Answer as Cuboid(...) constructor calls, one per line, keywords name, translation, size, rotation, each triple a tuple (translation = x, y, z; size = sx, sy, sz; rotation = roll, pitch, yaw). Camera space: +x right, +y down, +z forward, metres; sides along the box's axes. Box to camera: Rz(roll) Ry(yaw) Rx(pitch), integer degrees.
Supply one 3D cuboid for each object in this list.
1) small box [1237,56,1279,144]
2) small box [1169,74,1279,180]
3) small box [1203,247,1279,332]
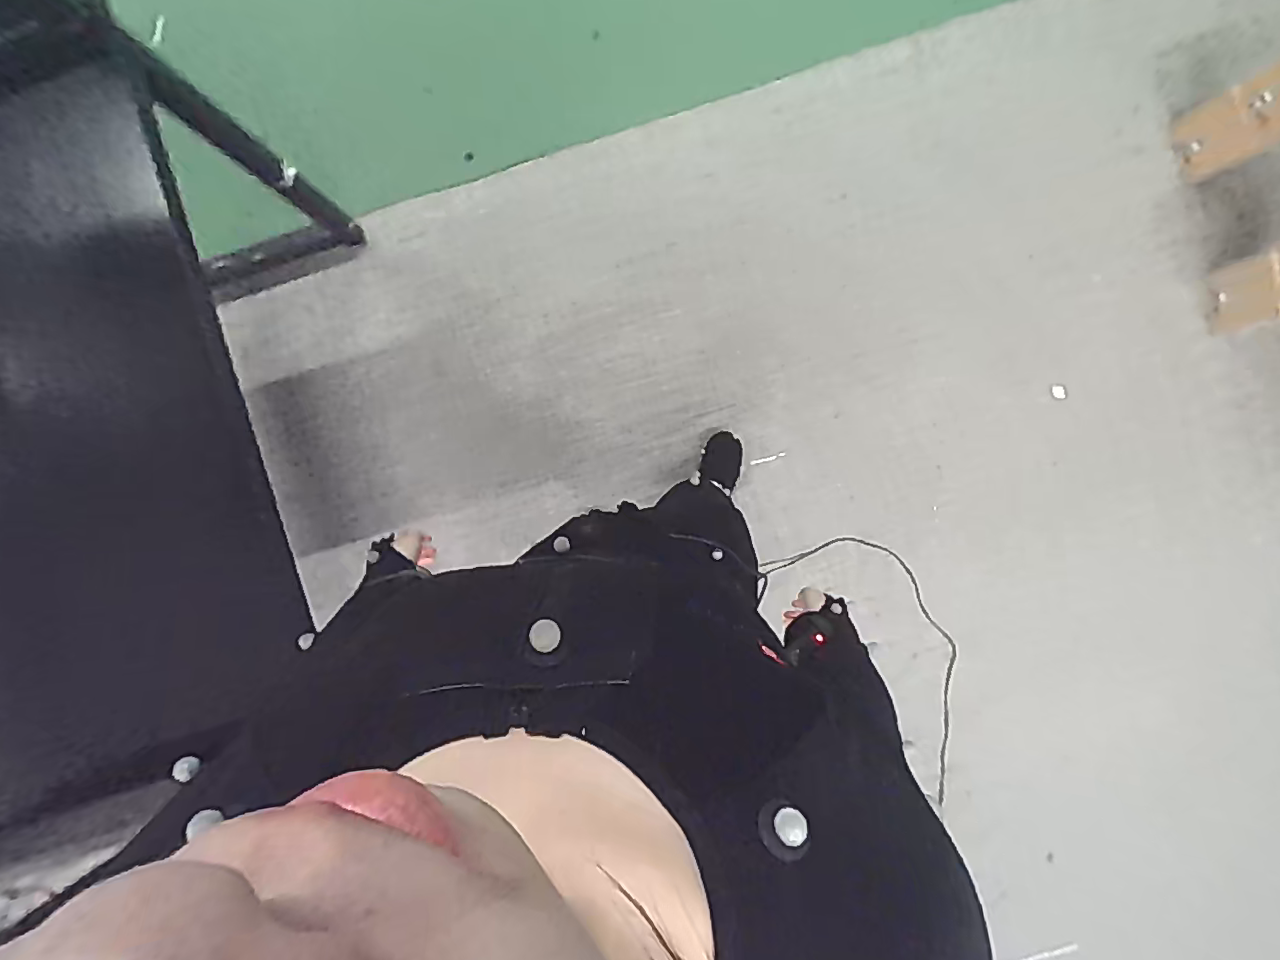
Cuboid(name="small box", translation=(1.530, -0.903, 1.211), size=(0.179, 0.176, 0.168), rotation=(-21, 88, 2))
Cuboid(name="small box", translation=(1.527, -0.907, 1.373), size=(0.179, 0.176, 0.168), rotation=(-21, 90, 1))
Cuboid(name="small box", translation=(1.608, -0.487, 1.372), size=(0.179, 0.176, 0.168), rotation=(-7, 90, 2))
